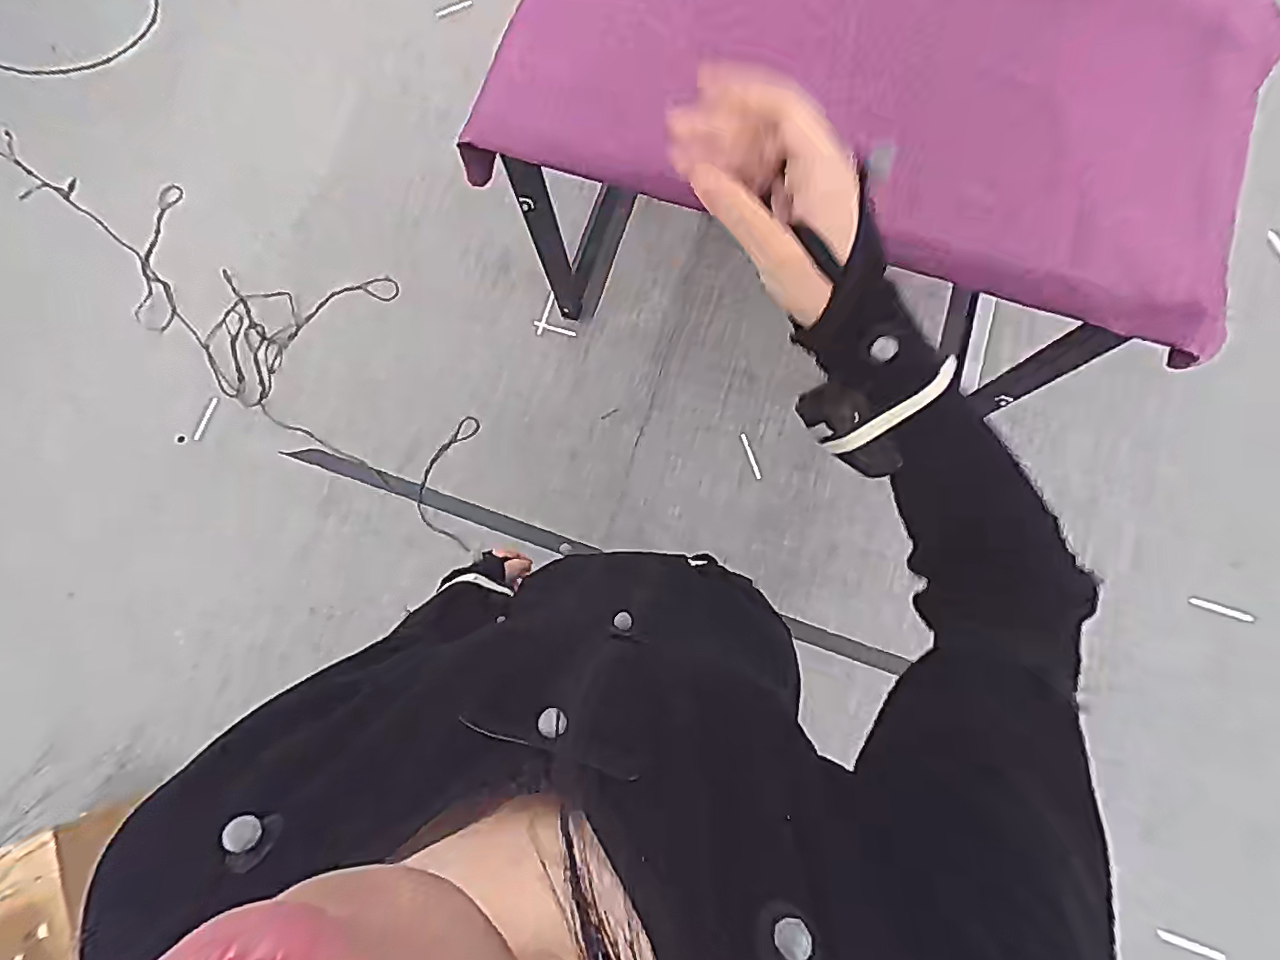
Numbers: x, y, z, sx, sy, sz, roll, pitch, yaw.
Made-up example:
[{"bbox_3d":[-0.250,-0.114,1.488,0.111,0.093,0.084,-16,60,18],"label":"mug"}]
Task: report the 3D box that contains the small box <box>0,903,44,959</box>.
[{"bbox_3d":[-1.304,0.960,1.022,0.179,0.176,0.168,-22,79,-2],"label":"small box"}]
